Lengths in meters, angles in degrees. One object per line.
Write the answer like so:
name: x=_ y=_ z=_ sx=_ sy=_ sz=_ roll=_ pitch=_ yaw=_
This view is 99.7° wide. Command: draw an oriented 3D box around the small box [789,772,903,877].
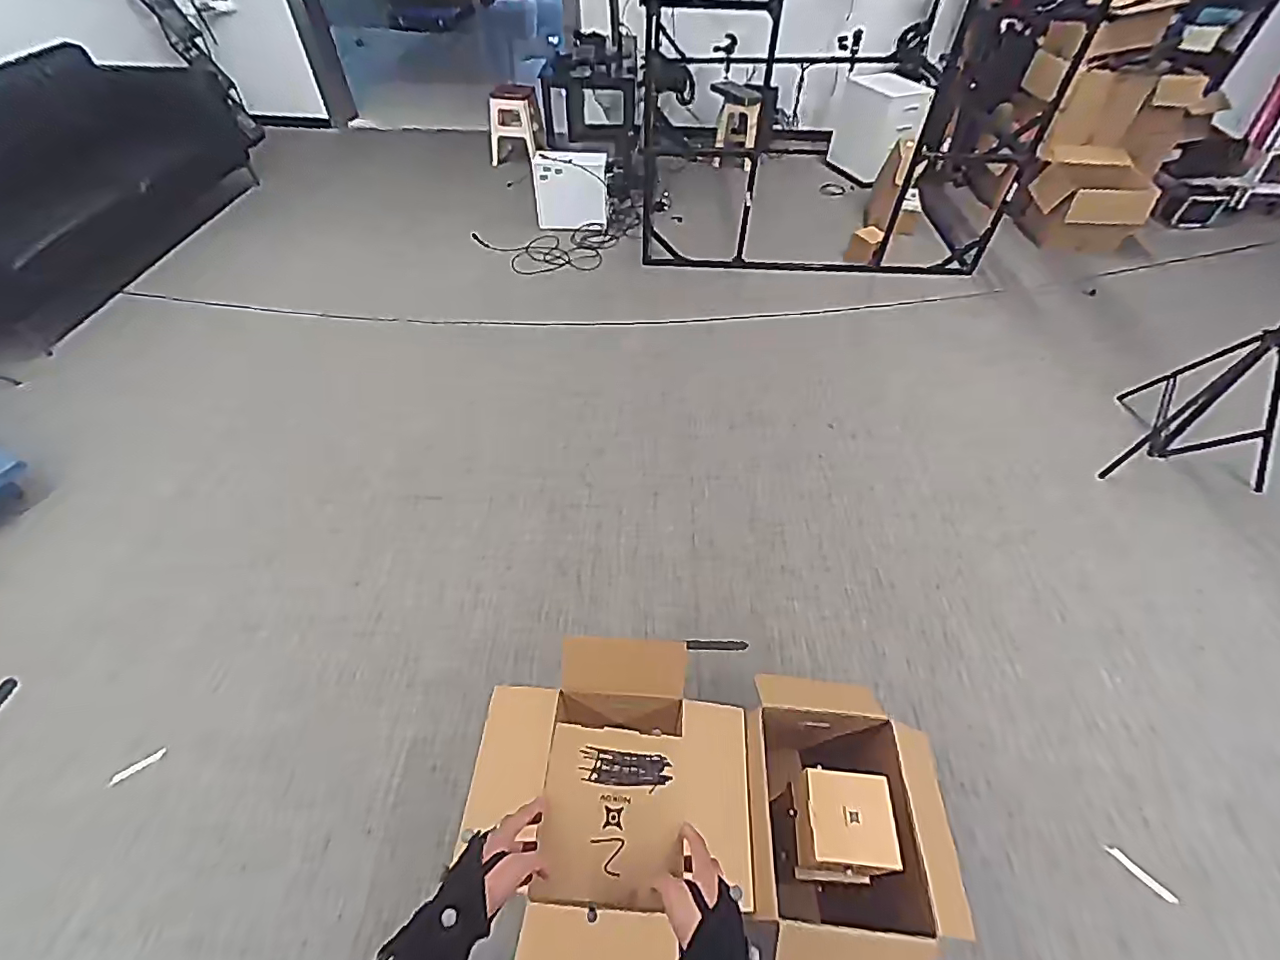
small box: x=0.434 y=0.746 z=1.167 sx=0.179 sy=0.176 sz=0.168 roll=5 pitch=51 yaw=2
